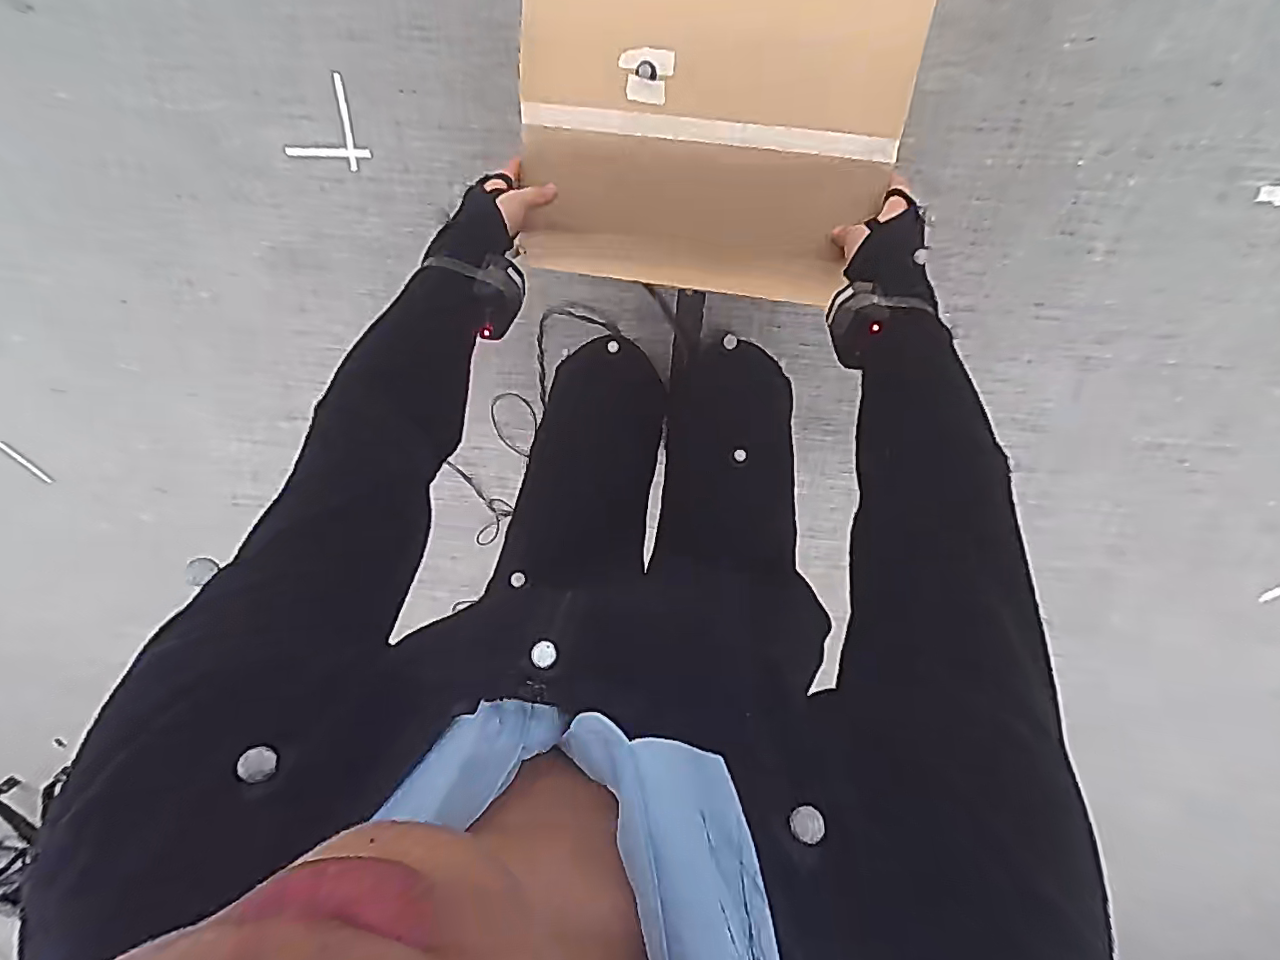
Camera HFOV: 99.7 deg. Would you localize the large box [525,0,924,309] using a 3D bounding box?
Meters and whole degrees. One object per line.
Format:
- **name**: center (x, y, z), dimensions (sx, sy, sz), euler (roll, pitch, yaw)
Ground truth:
- **large box**: center (0.092, -0.421, 0.726), dimensions (0.408, 0.320, 0.320), euler (9, 111, 6)
